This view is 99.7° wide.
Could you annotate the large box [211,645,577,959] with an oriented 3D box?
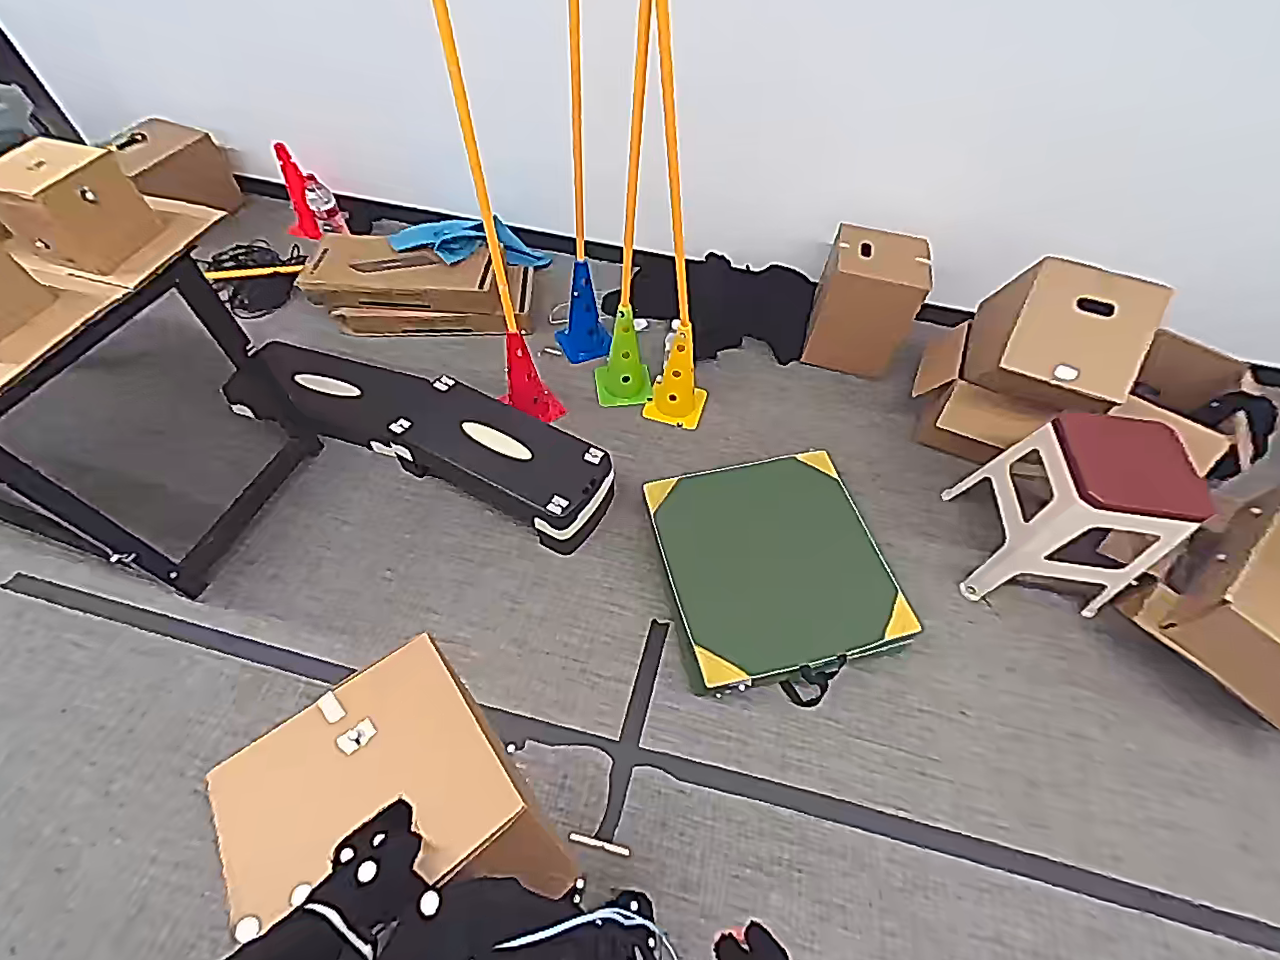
[{"bbox_3d":[-0.340,0.531,0.820,0.320,0.408,0.320,-32,50,-22],"label":"large box"}]
